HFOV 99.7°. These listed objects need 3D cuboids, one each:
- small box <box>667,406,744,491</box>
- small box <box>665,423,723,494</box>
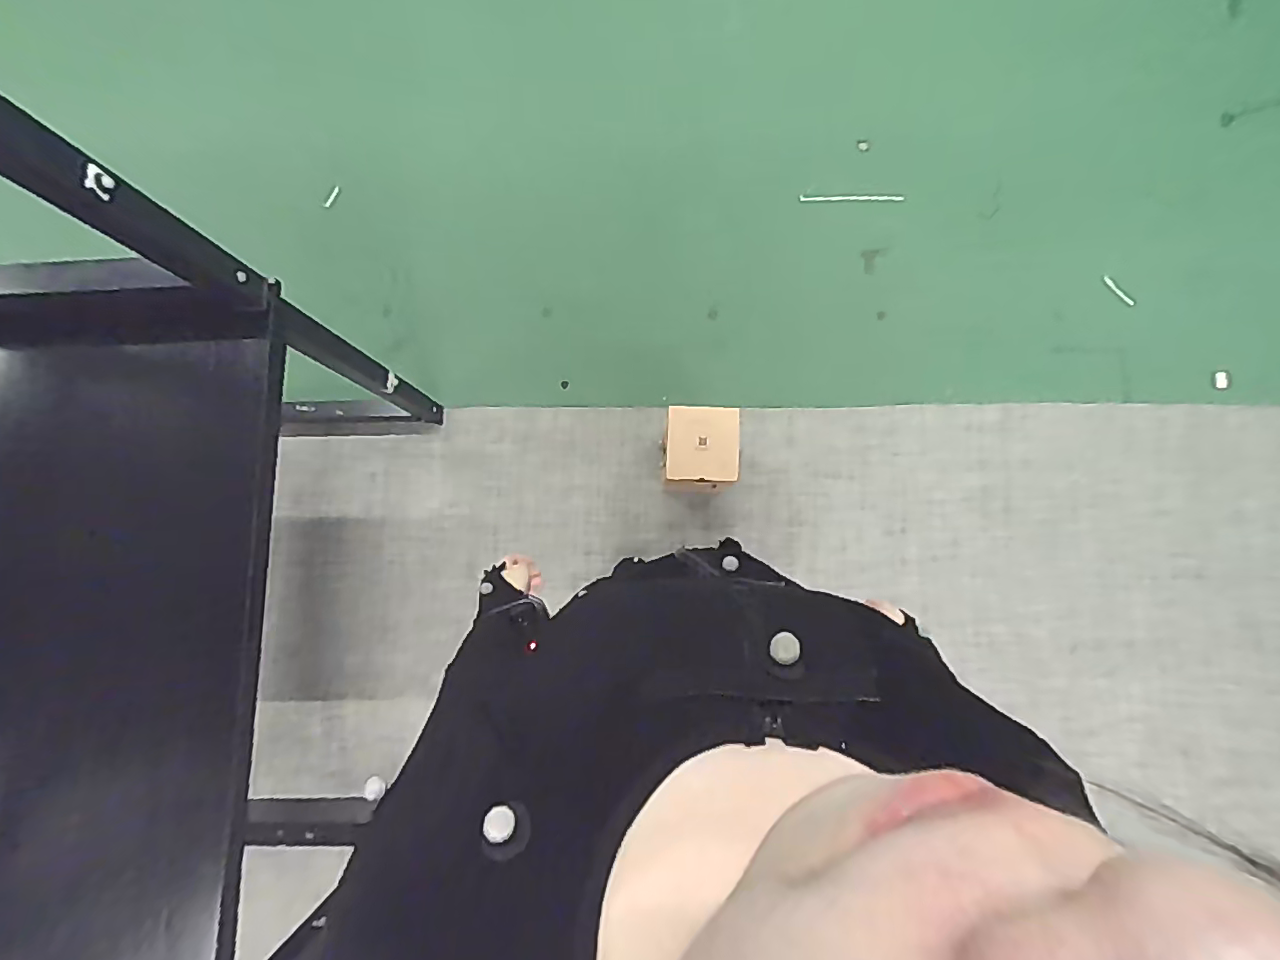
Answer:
[{"bbox_3d":[0.152,-0.069,1.296,0.168,0.176,0.179,2,82,1],"label":"small box"},{"bbox_3d":[0.159,-0.055,1.456,0.179,0.176,0.168,3,83,1],"label":"small box"}]
